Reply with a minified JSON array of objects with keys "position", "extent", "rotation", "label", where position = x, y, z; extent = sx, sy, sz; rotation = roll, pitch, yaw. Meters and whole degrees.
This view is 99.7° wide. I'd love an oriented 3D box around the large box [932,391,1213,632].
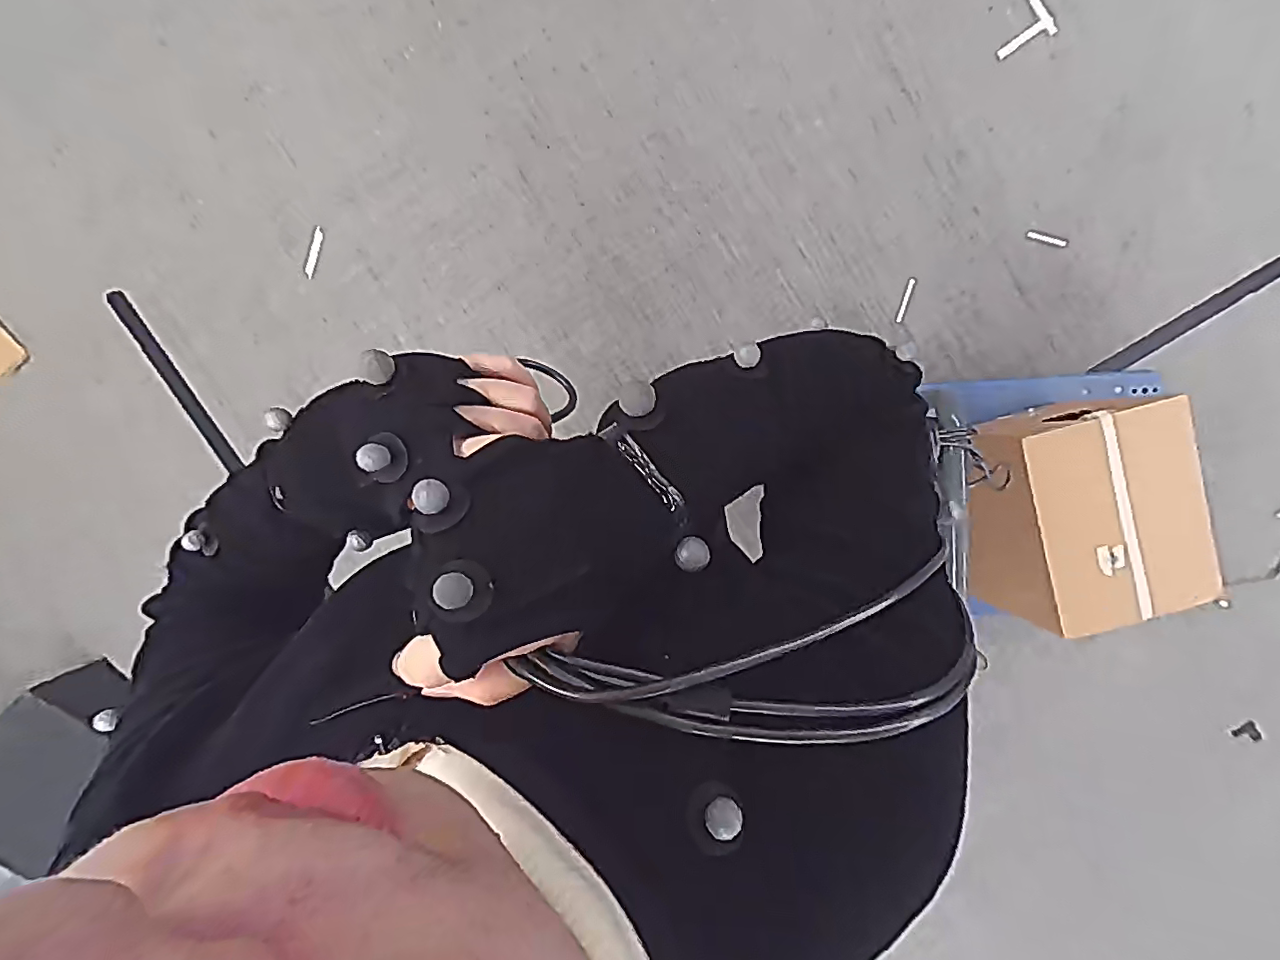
[{"position":[0.894,0.049,1.163],"extent":[0.320,0.320,0.408],"rotation":[-15,96,2],"label":"large box"}]
